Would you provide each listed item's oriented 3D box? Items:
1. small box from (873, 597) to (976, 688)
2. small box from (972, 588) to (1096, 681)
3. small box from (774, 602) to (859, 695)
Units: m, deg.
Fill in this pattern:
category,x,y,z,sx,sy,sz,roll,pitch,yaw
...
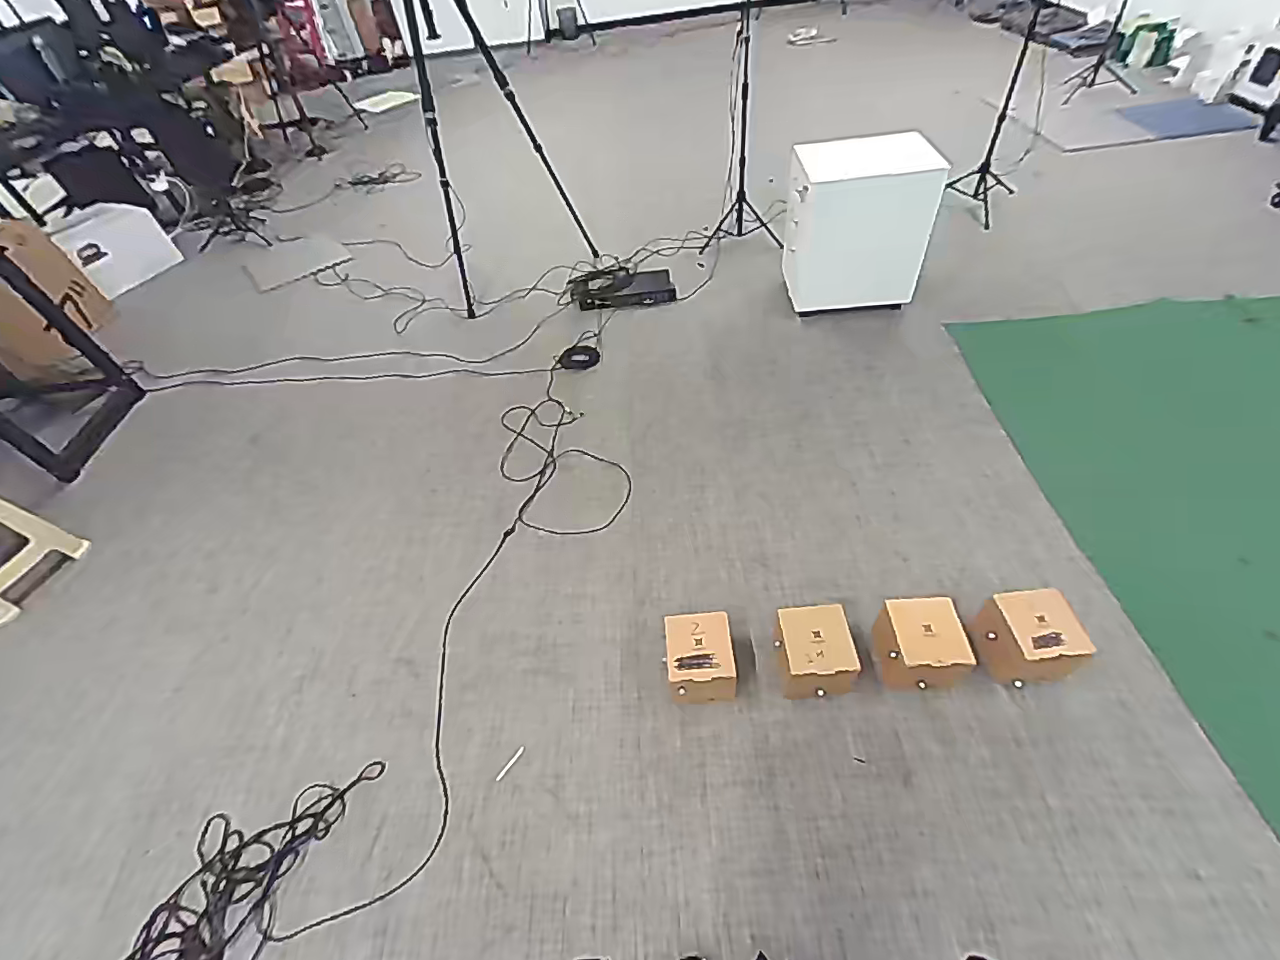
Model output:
category,x,y,z,sx,sy,sz,roll,pitch,yaw
small box,0.715,0.418,1.387,0.168,0.176,0.179,-3,50,5
small box,0.983,0.396,1.368,0.168,0.176,0.179,-6,49,3
small box,0.448,0.438,1.402,0.168,0.176,0.179,-6,50,4
